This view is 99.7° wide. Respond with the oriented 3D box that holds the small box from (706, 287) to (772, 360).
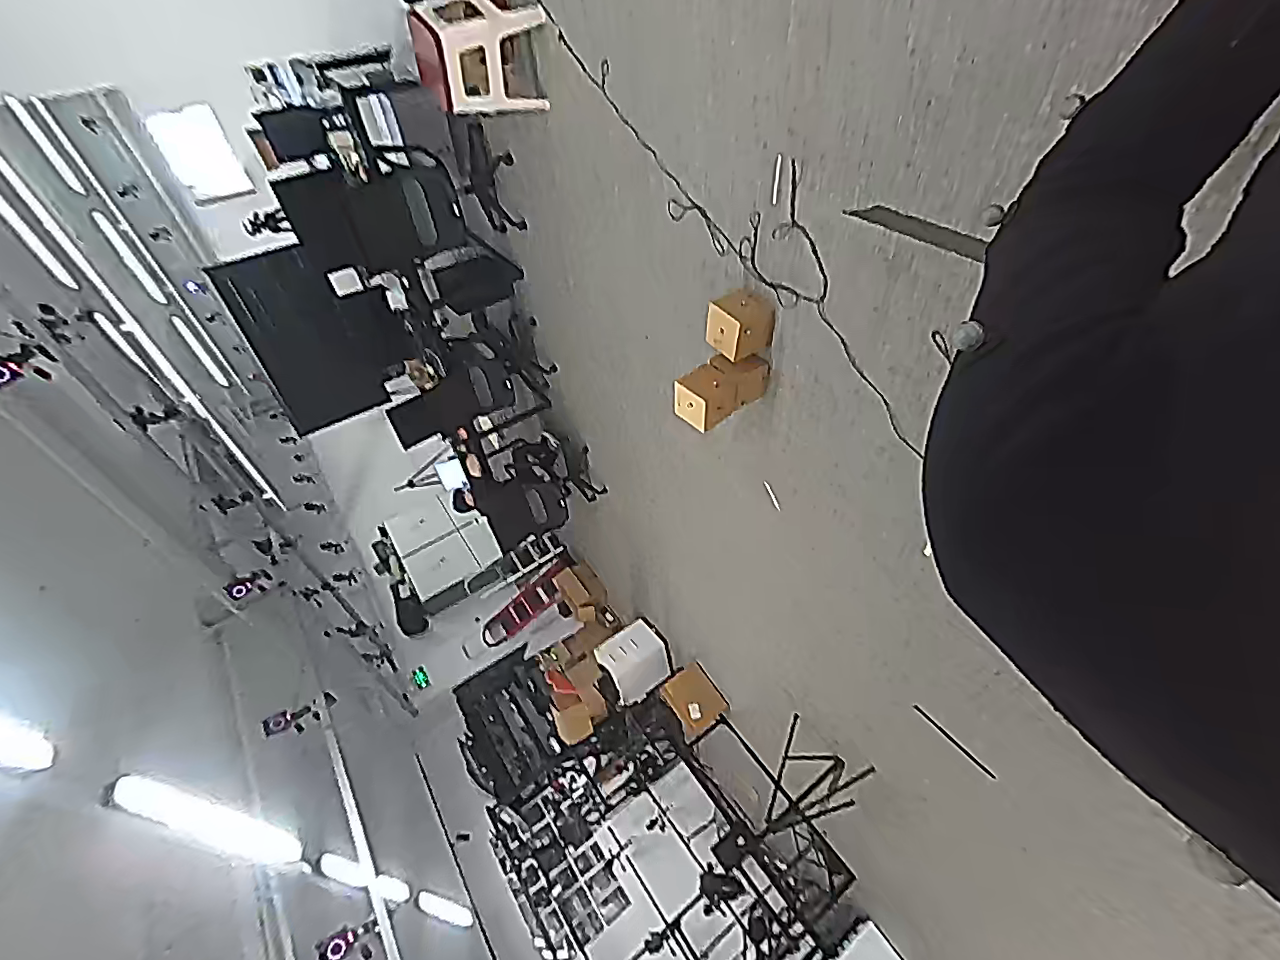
[{"bbox_3d":[0.366,-0.584,2.000,0.168,0.176,0.179,48,156,31],"label":"small box"}]
